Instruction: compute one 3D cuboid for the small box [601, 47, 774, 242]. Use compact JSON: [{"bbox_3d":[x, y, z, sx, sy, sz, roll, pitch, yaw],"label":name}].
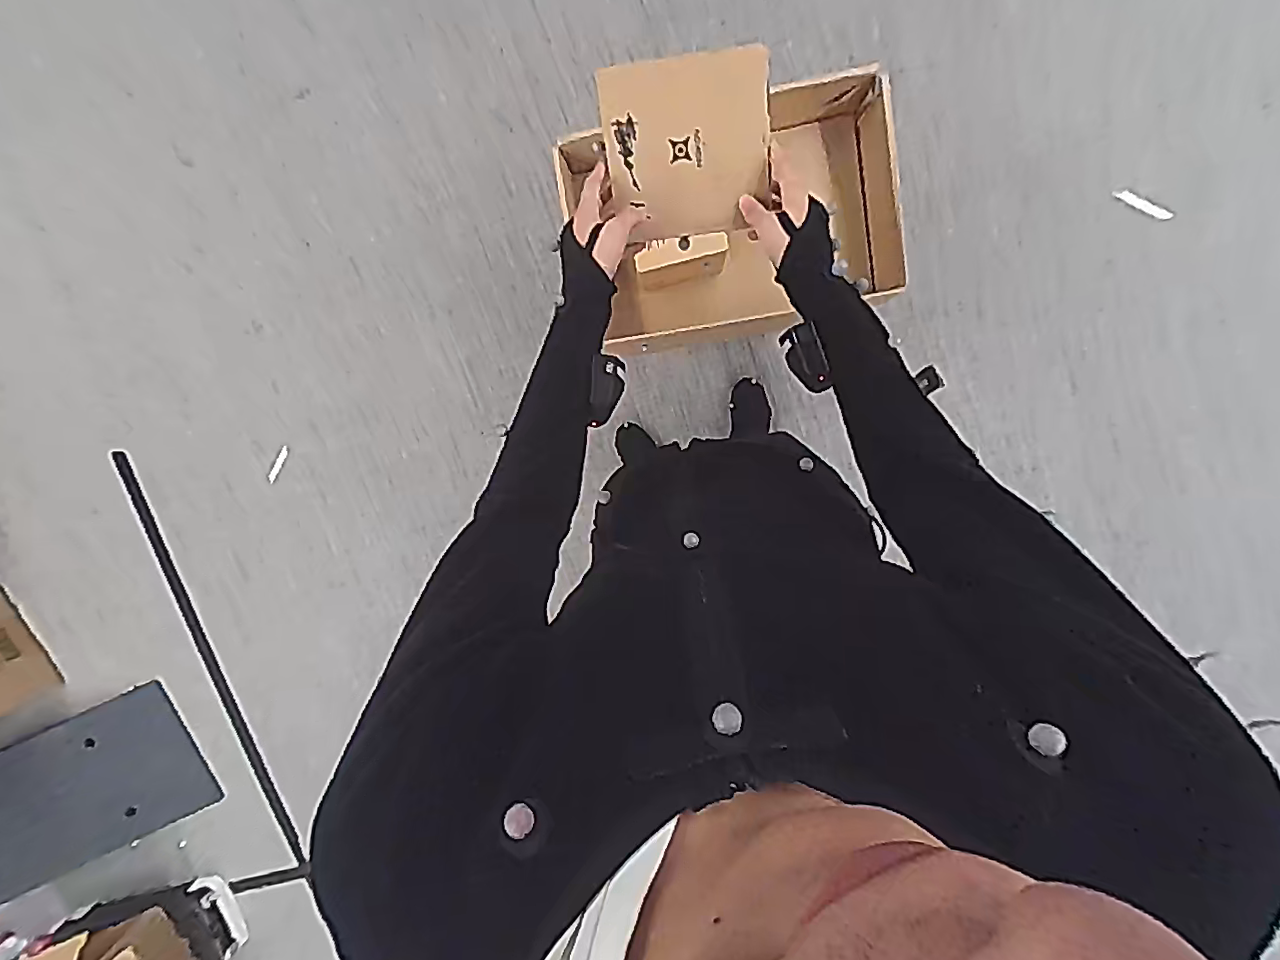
[{"bbox_3d":[0.050,-0.381,0.641,0.179,0.176,0.168,-6,113,1],"label":"small box"}]
